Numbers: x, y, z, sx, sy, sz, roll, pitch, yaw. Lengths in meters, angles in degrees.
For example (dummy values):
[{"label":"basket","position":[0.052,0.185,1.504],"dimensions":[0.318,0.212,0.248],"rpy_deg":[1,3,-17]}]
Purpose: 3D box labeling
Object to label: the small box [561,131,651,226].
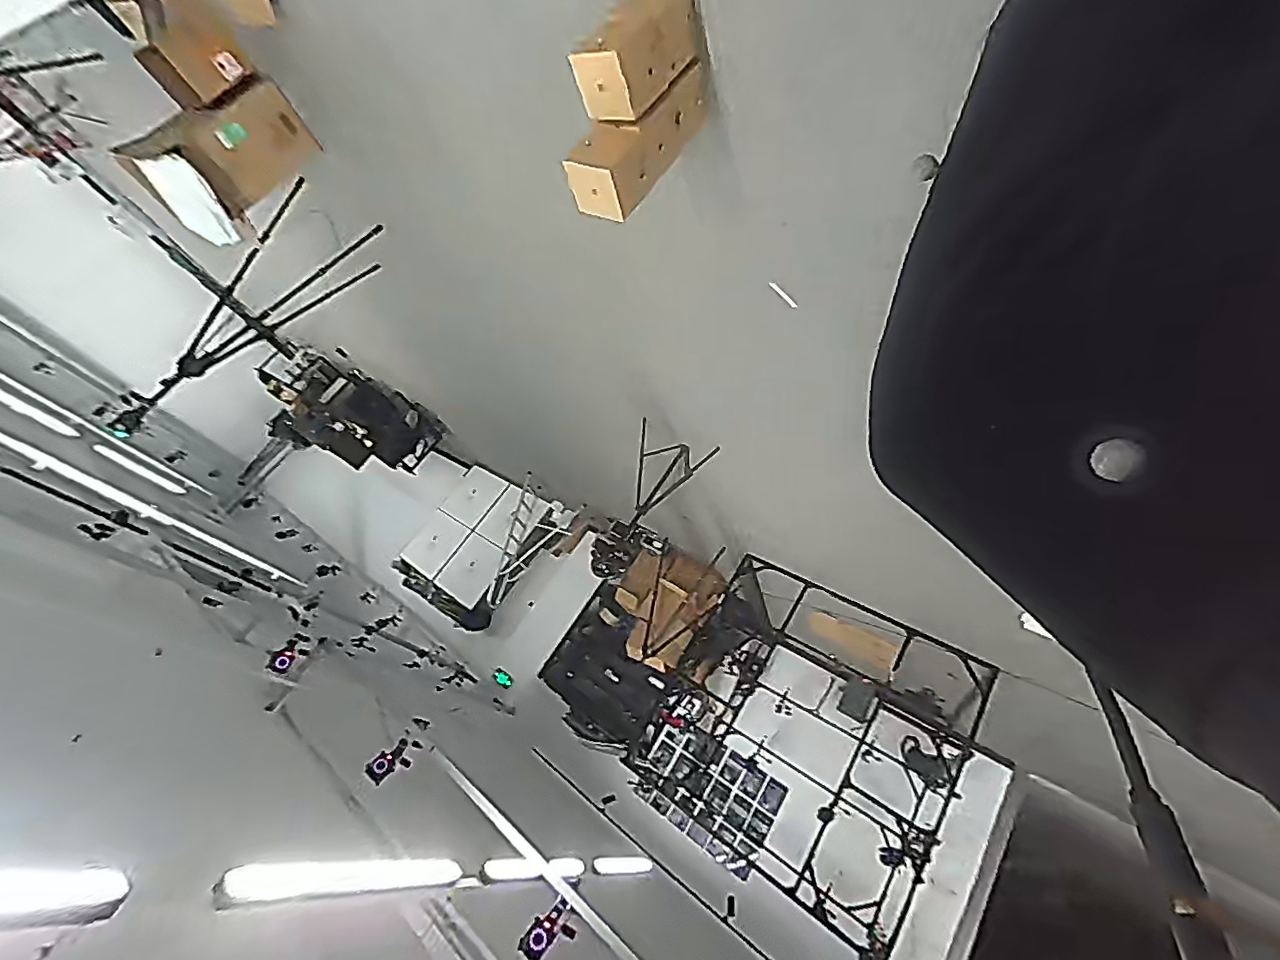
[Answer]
[{"label":"small box","position":[-0.094,-0.883,1.577],"dimensions":[0.179,0.176,0.168],"rpy_deg":[27,161,24]}]
